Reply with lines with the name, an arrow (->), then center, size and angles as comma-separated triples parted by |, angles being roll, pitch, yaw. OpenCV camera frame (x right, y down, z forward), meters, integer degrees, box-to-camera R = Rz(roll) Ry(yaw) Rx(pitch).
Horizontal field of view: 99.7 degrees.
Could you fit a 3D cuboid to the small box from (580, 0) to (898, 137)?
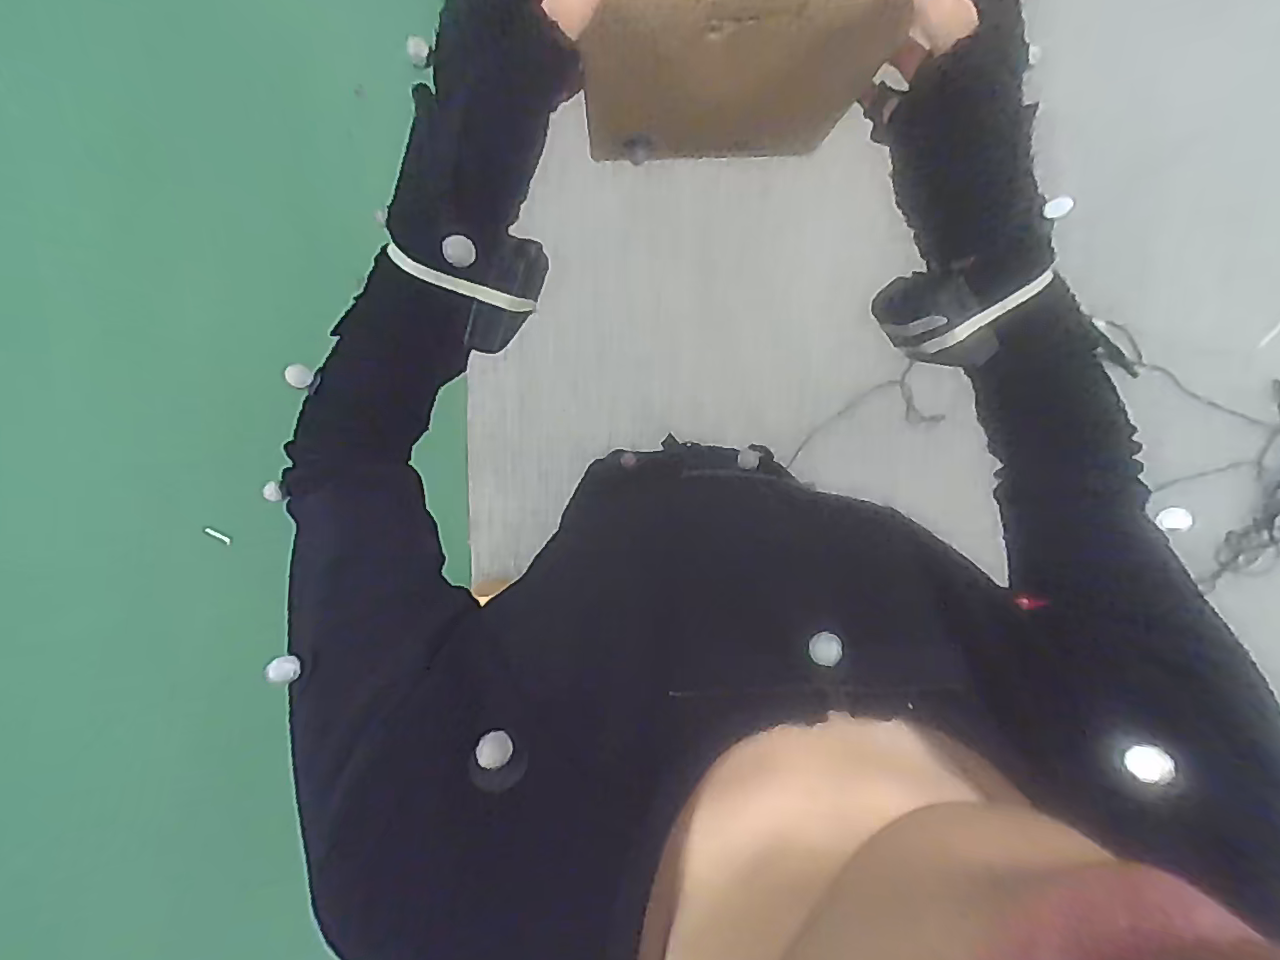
small box -> 0.049, -0.317, 0.300 | 0.168, 0.176, 0.179 | -3, 96, -2
